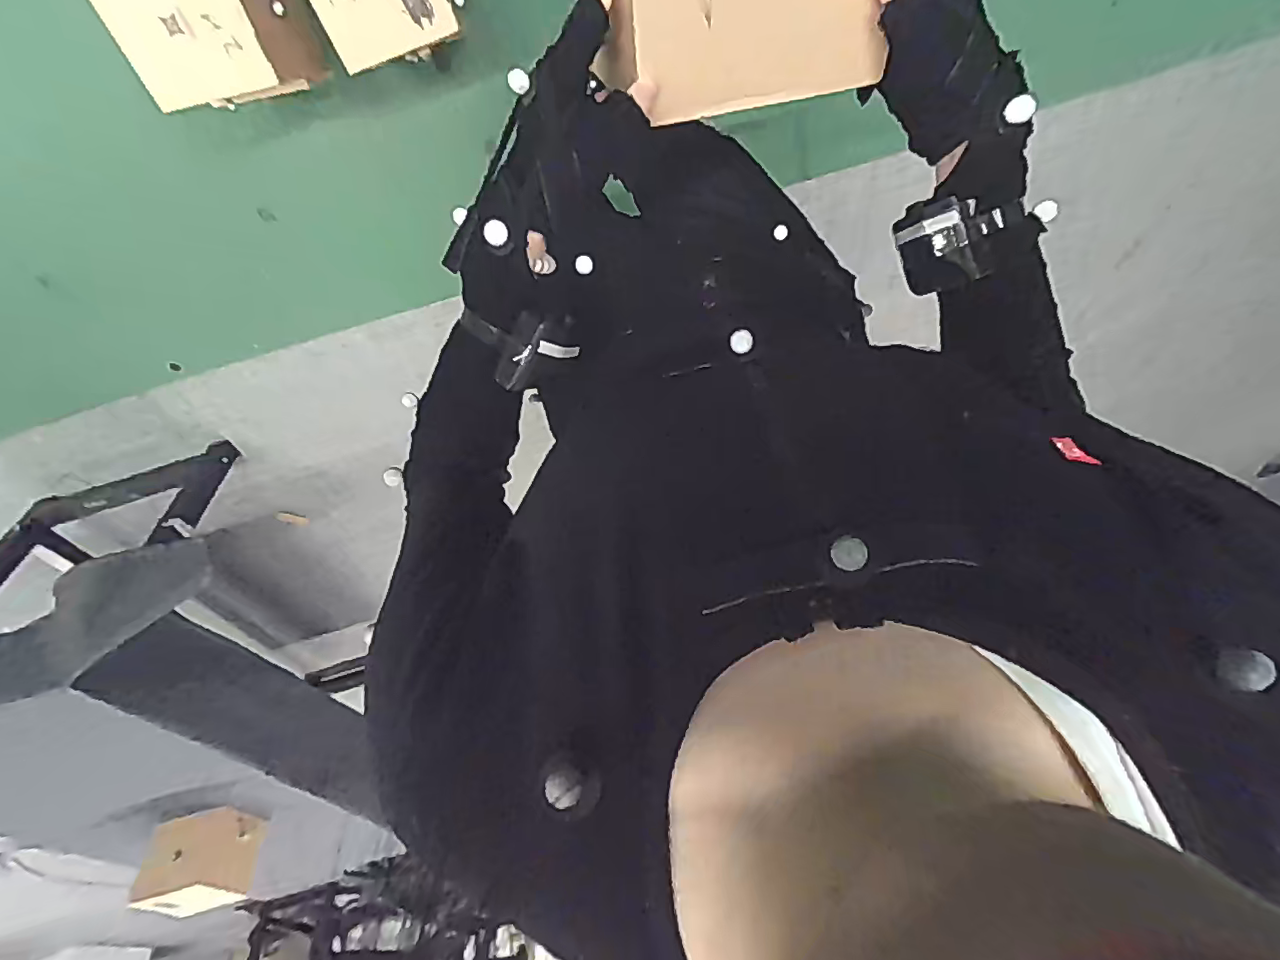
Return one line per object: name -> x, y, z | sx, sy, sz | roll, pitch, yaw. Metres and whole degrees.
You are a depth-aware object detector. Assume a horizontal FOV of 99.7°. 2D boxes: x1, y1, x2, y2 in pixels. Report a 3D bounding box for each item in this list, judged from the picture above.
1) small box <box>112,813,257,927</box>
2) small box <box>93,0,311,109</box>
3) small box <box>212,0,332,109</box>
small box -> -1.073, 0.930, 1.293 | 0.179, 0.176, 0.168 | -16, 132, 1
small box -> -0.619, -0.653, 0.775 | 0.179, 0.176, 0.168 | -13, 132, -1
small box -> -0.653, -0.750, 0.905 | 0.168, 0.176, 0.179 | -12, 131, -2
